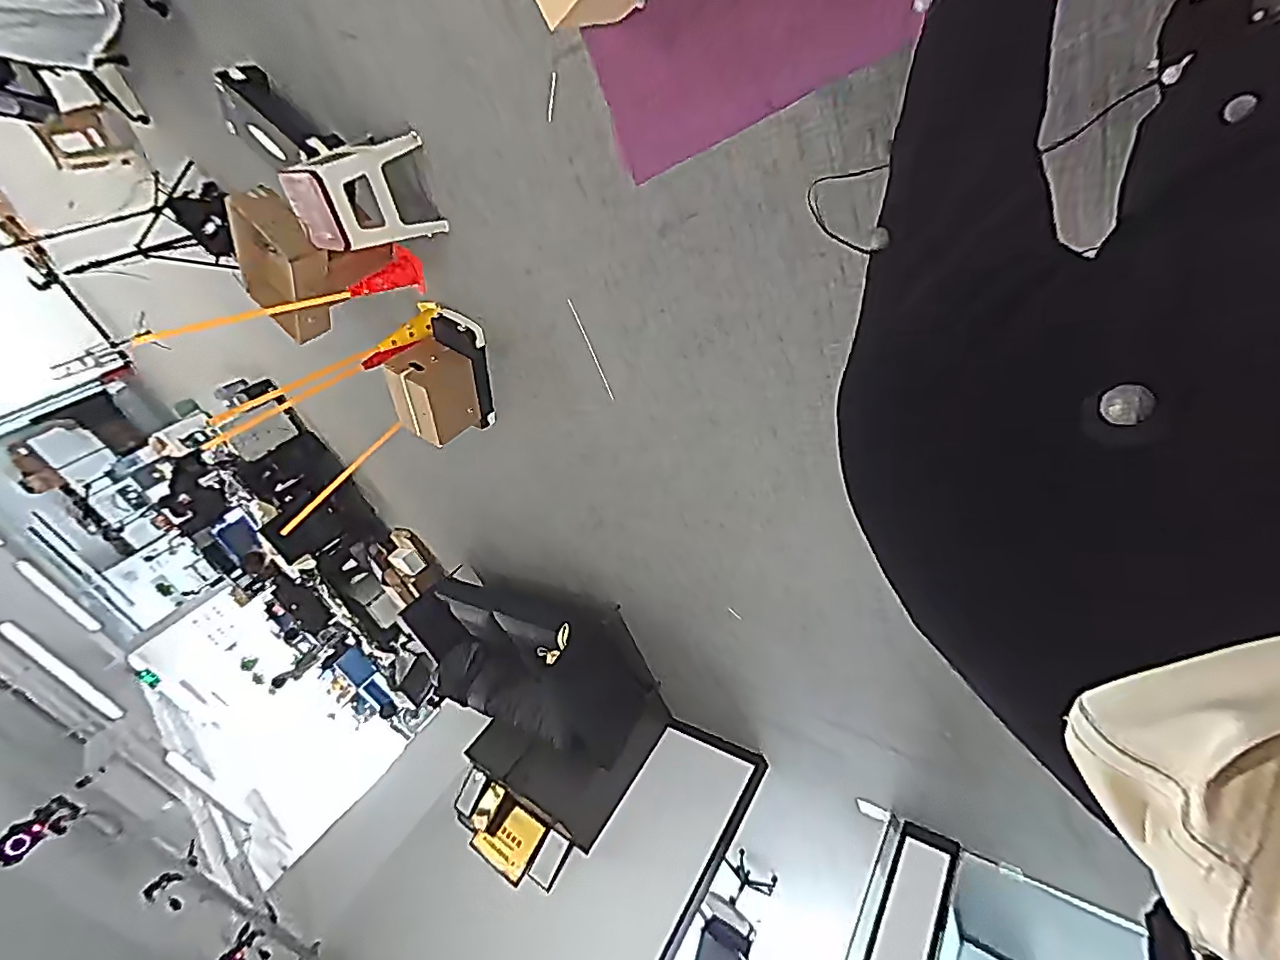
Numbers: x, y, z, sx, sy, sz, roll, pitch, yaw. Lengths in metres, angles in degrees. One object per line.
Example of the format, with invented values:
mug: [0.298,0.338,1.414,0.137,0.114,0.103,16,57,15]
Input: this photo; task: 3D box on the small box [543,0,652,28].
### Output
small box: [-0.045,-0.726,0.687,0.168,0.176,0.179,-3,124,47]
